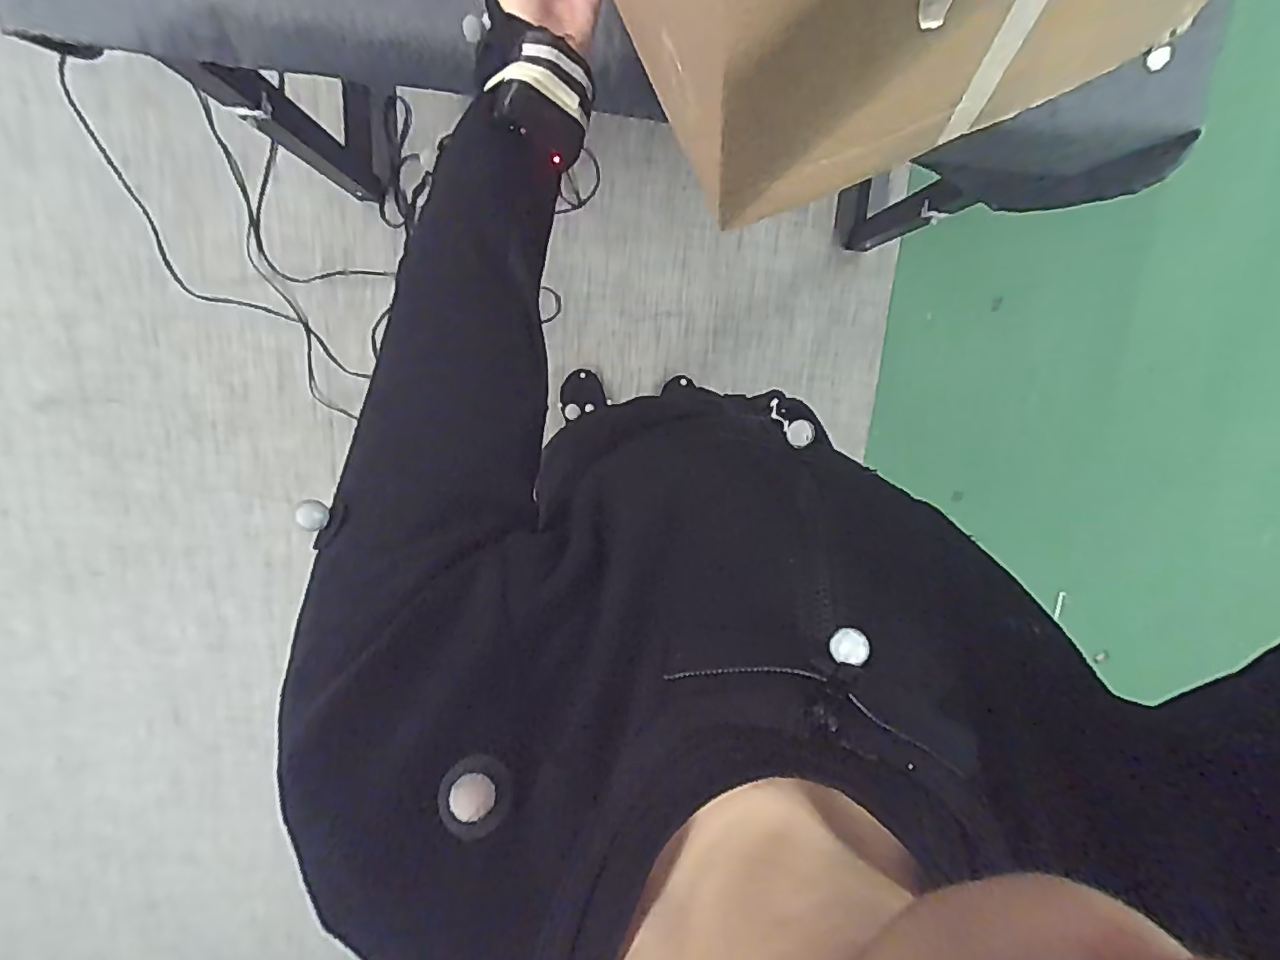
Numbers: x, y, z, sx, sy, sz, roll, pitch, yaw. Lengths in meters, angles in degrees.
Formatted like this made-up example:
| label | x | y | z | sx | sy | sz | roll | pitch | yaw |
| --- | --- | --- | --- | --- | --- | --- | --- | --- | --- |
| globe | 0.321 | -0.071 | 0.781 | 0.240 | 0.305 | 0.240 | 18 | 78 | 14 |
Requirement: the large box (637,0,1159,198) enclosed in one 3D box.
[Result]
| label | x | y | z | sx | sy | sz | roll | pitch | yaw |
| --- | --- | --- | --- | --- | --- | --- | --- | --- | --- |
| large box | 0.117 | -0.408 | 0.188 | 0.320 | 0.408 | 0.320 | -22 | 82 | 5 |
